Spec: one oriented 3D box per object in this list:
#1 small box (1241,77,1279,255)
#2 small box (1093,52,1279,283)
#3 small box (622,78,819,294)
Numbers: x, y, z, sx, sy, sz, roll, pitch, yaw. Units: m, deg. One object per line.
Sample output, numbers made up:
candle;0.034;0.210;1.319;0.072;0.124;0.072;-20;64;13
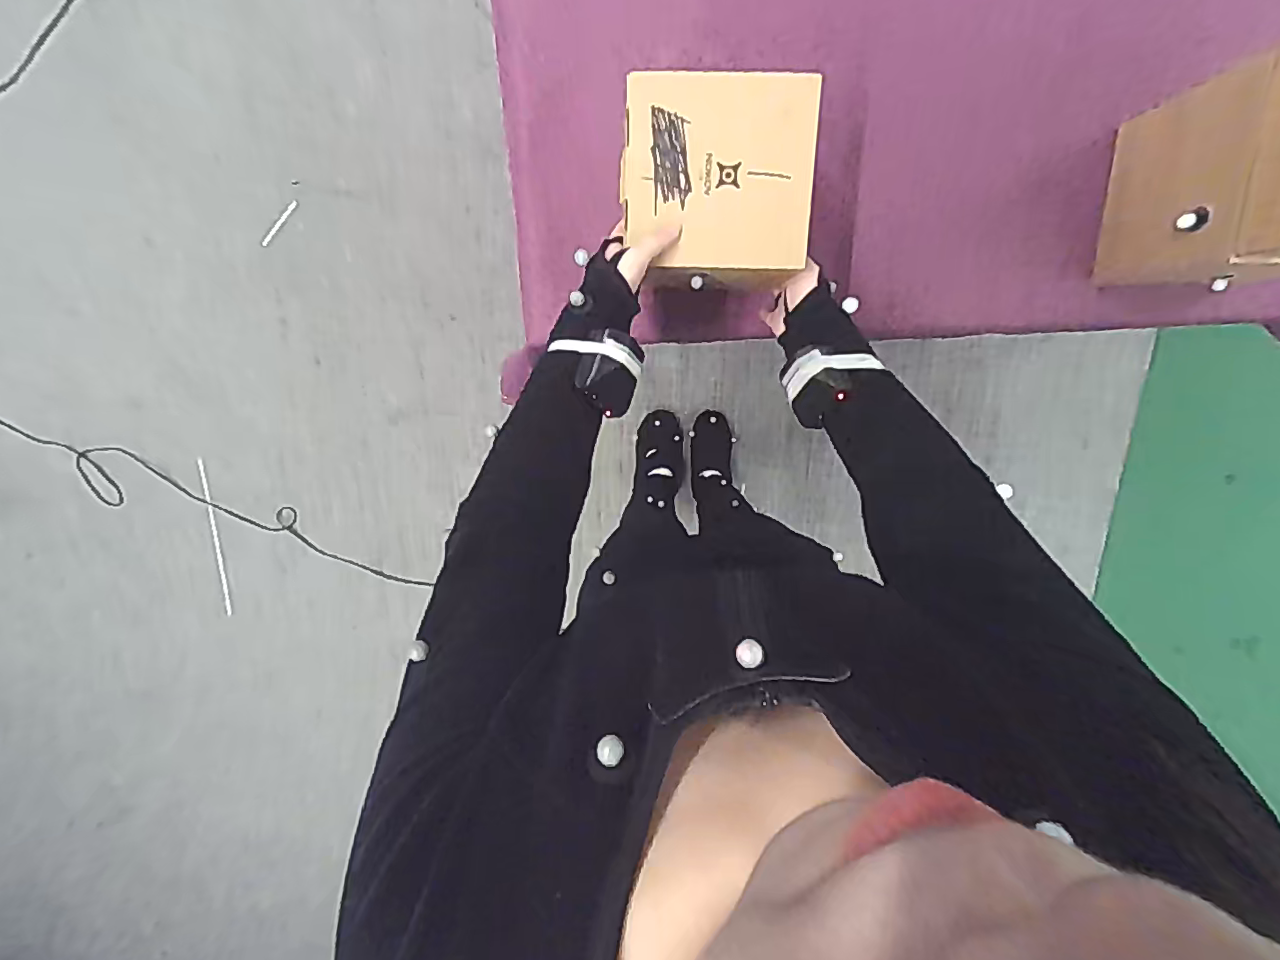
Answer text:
small box;0.622;-0.273;0.398;0.168;0.176;0.179;0;104;2
small box;0.623;-0.302;0.559;0.168;0.176;0.179;0;103;2
small box;0.074;-0.295;0.579;0.179;0.176;0.168;1;103;1
